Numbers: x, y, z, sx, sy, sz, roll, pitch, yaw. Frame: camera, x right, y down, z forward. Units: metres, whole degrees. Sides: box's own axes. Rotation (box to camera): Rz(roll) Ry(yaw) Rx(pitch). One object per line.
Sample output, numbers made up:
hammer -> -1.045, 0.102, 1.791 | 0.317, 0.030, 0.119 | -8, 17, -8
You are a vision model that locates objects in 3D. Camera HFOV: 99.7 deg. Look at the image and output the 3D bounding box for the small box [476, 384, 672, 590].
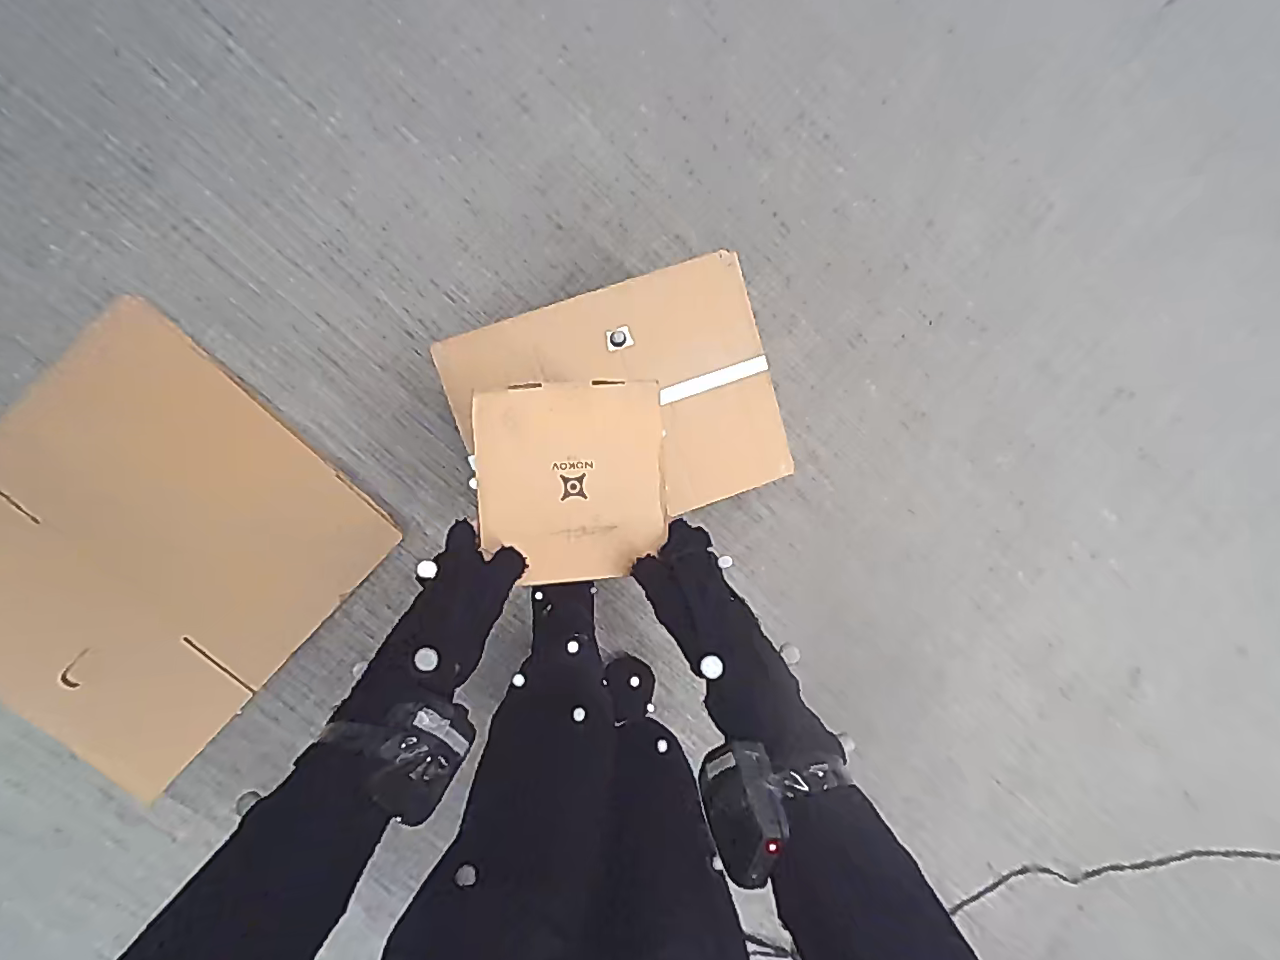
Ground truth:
small box -> -0.066, 0.005, 0.562 | 0.168, 0.176, 0.179 | -5, 91, -5
